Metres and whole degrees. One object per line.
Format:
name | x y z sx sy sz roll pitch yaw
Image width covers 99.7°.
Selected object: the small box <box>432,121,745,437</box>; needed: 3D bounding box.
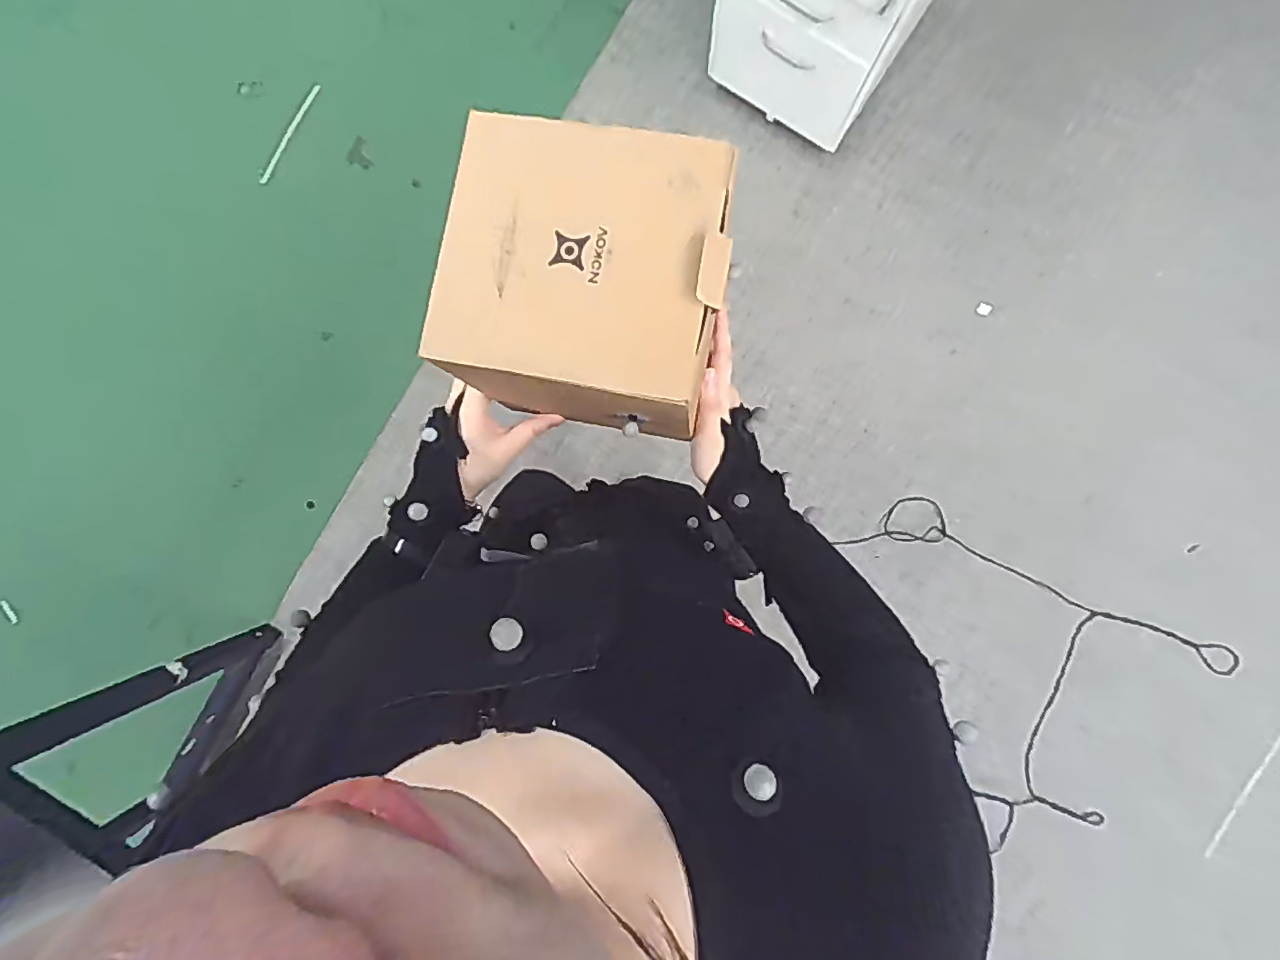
small box | -0.026 -0.134 0.420 0.179 0.176 0.168 11 86 7
